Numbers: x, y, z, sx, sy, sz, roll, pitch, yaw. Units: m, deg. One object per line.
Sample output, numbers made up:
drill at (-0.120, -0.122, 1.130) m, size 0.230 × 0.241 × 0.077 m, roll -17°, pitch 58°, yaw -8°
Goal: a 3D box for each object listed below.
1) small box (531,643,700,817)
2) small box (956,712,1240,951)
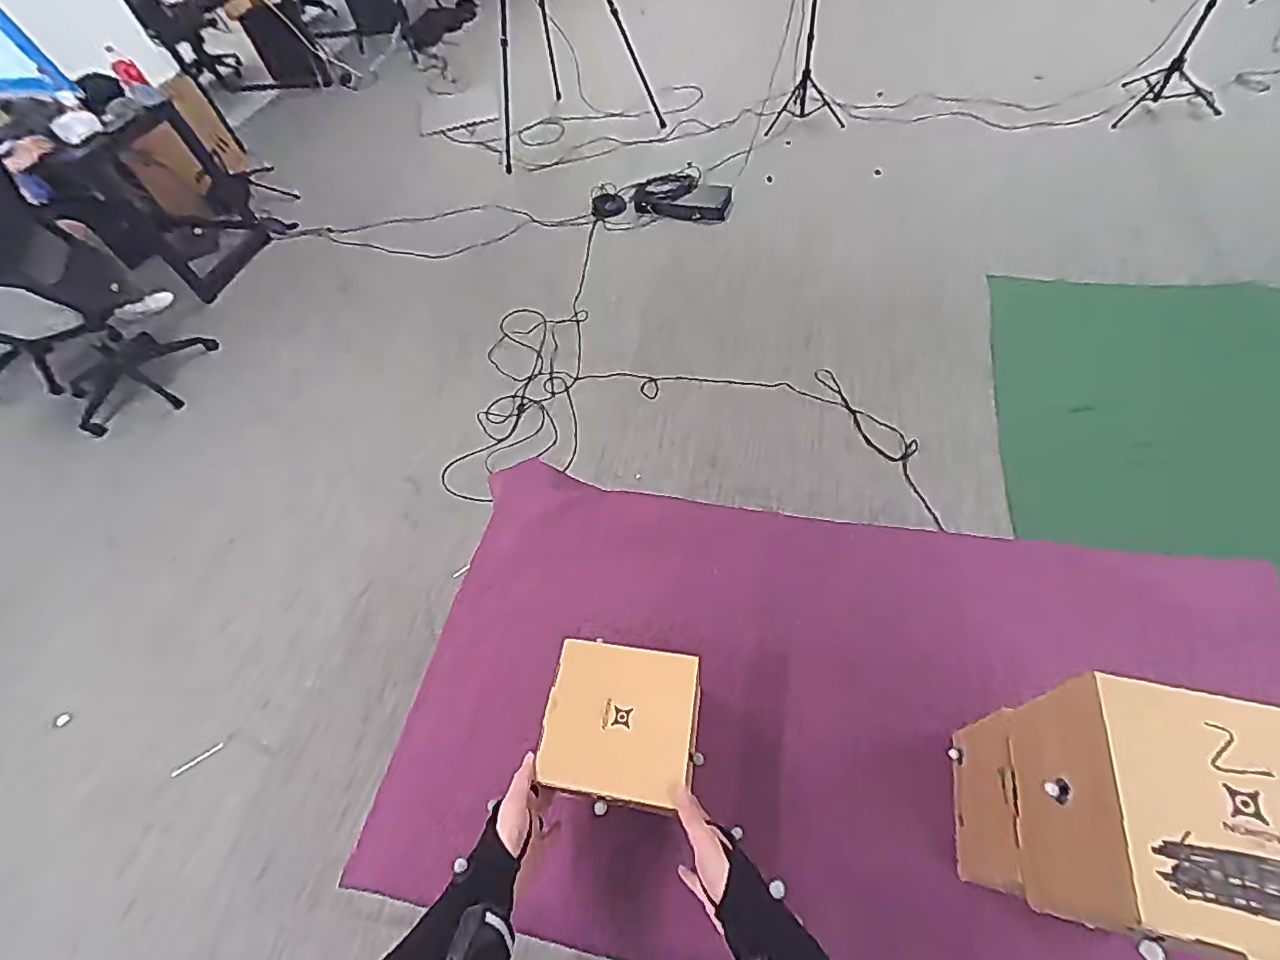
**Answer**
small box at (-0.016, 0.326, 0.700) m, size 0.179 × 0.176 × 0.168 m, roll 4°, pitch 57°, yaw 11°
small box at (0.468, 0.377, 0.595) m, size 0.179 × 0.176 × 0.168 m, roll 9°, pitch 58°, yaw 13°
